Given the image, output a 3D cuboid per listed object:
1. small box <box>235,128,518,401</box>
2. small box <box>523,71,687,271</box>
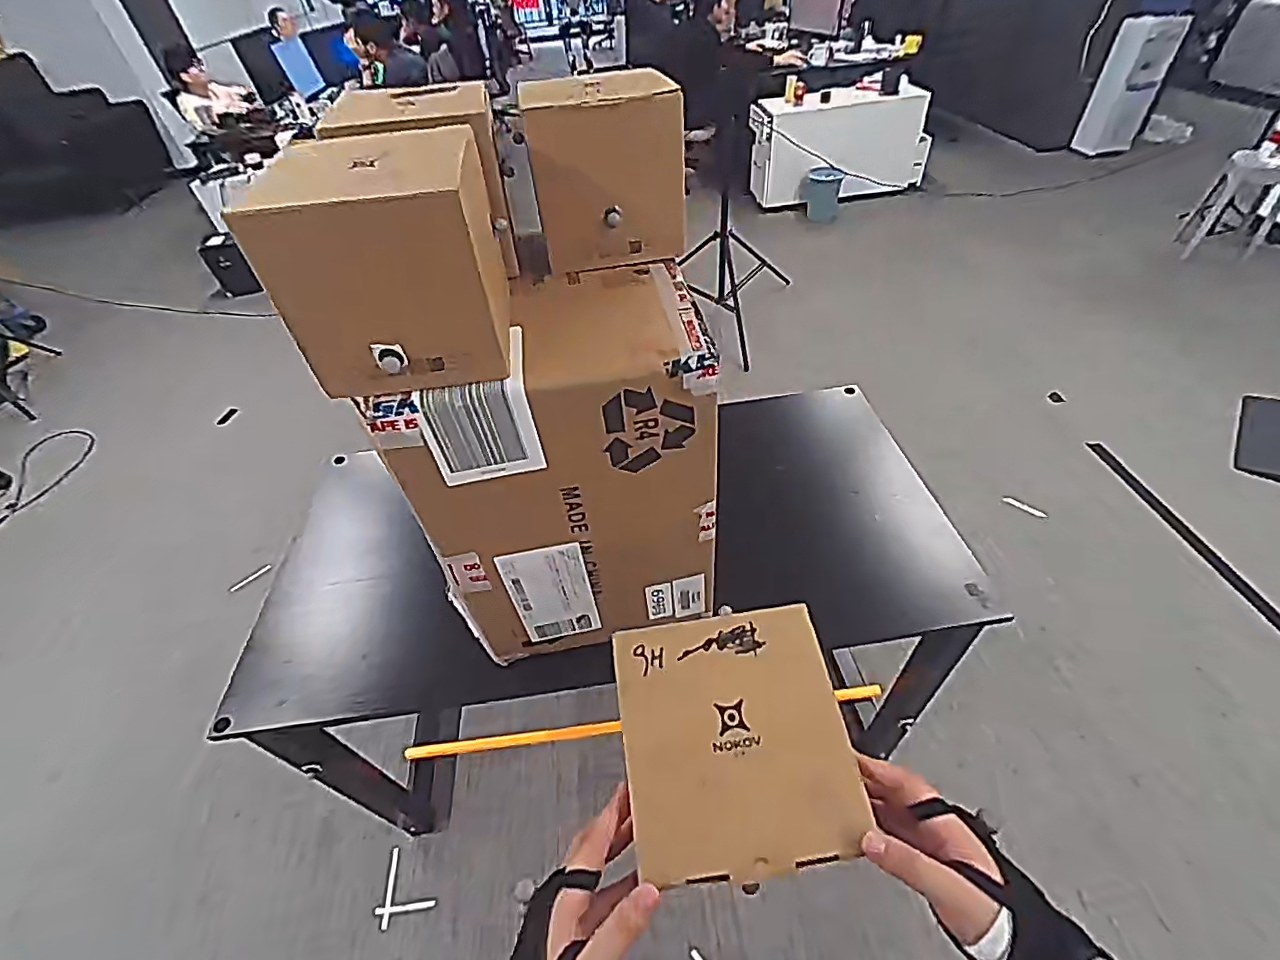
[{"bbox_3d":[-0.212,-0.197,0.496,0.168,0.176,0.179,-10,48,-5],"label":"small box"},{"bbox_3d":[-0.042,-0.372,0.652,0.168,0.176,0.179,-10,44,-4],"label":"small box"}]
